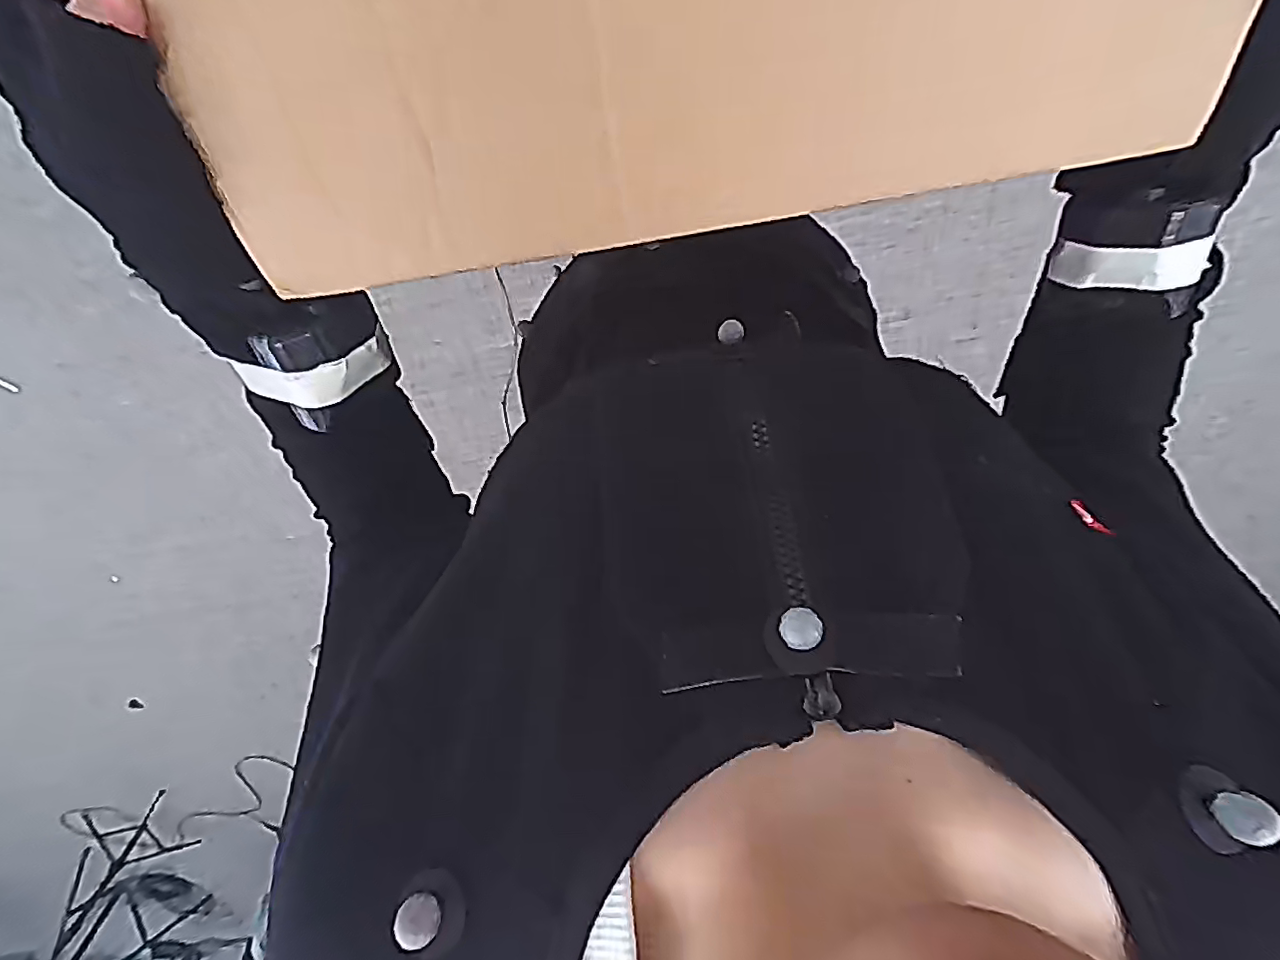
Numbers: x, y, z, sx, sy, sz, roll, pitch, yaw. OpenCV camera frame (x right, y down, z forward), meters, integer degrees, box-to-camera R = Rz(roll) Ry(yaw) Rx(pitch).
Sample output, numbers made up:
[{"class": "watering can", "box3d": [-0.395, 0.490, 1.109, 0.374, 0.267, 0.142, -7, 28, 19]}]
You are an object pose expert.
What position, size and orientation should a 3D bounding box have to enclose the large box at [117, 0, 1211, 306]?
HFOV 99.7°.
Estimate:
[{"class": "large box", "box3d": [0.002, -0.325, 0.264, 0.408, 0.320, 0.320, -8, 131, 4]}]
